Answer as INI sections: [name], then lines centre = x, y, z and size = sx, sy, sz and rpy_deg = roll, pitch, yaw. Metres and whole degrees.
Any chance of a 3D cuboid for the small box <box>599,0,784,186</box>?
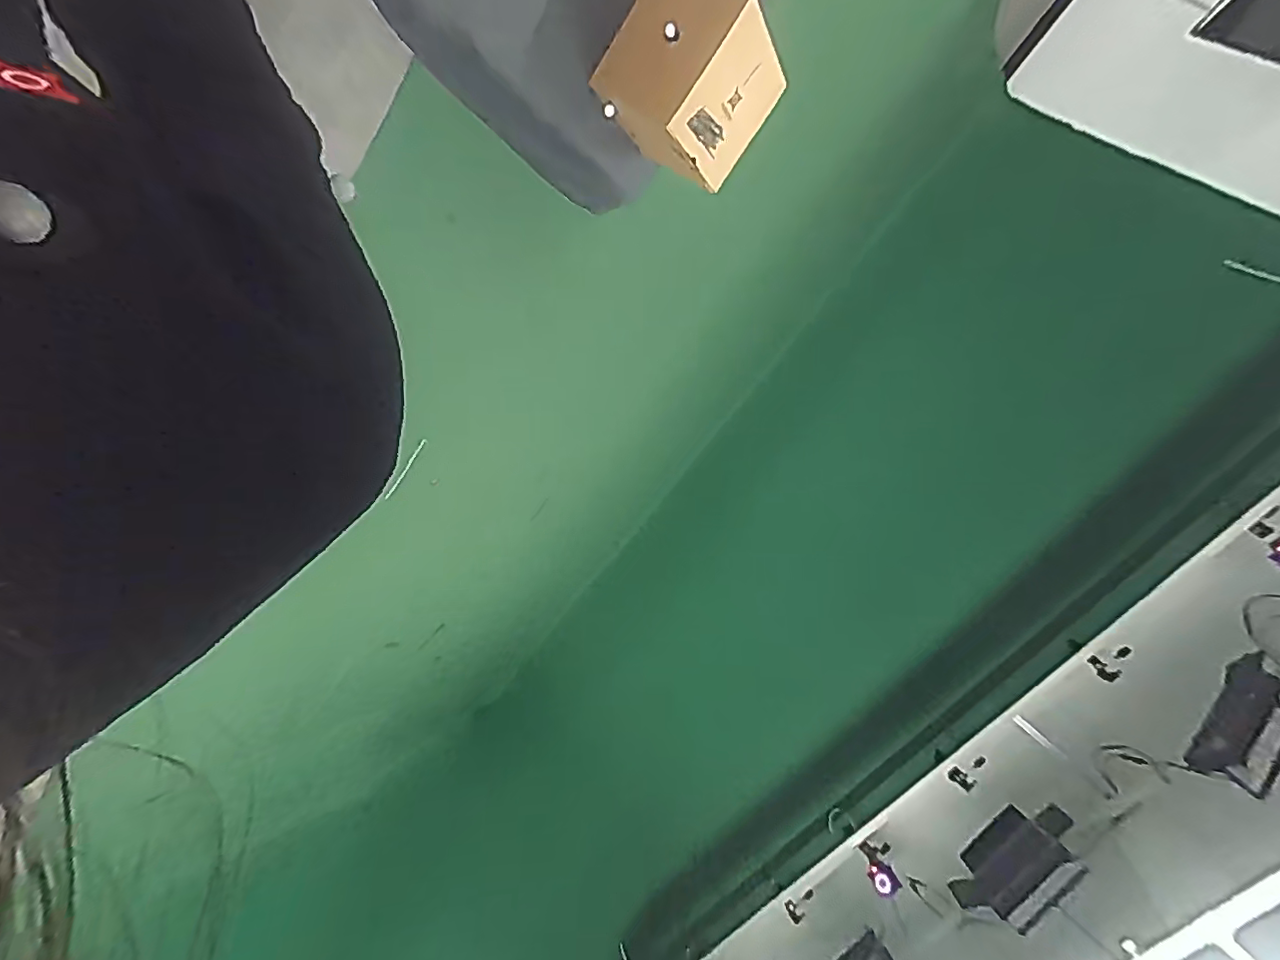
[small box]
centre = 0.067, -0.568, 0.763
size = 0.179, 0.176, 0.168
rpy_deg = -53, 155, 15
